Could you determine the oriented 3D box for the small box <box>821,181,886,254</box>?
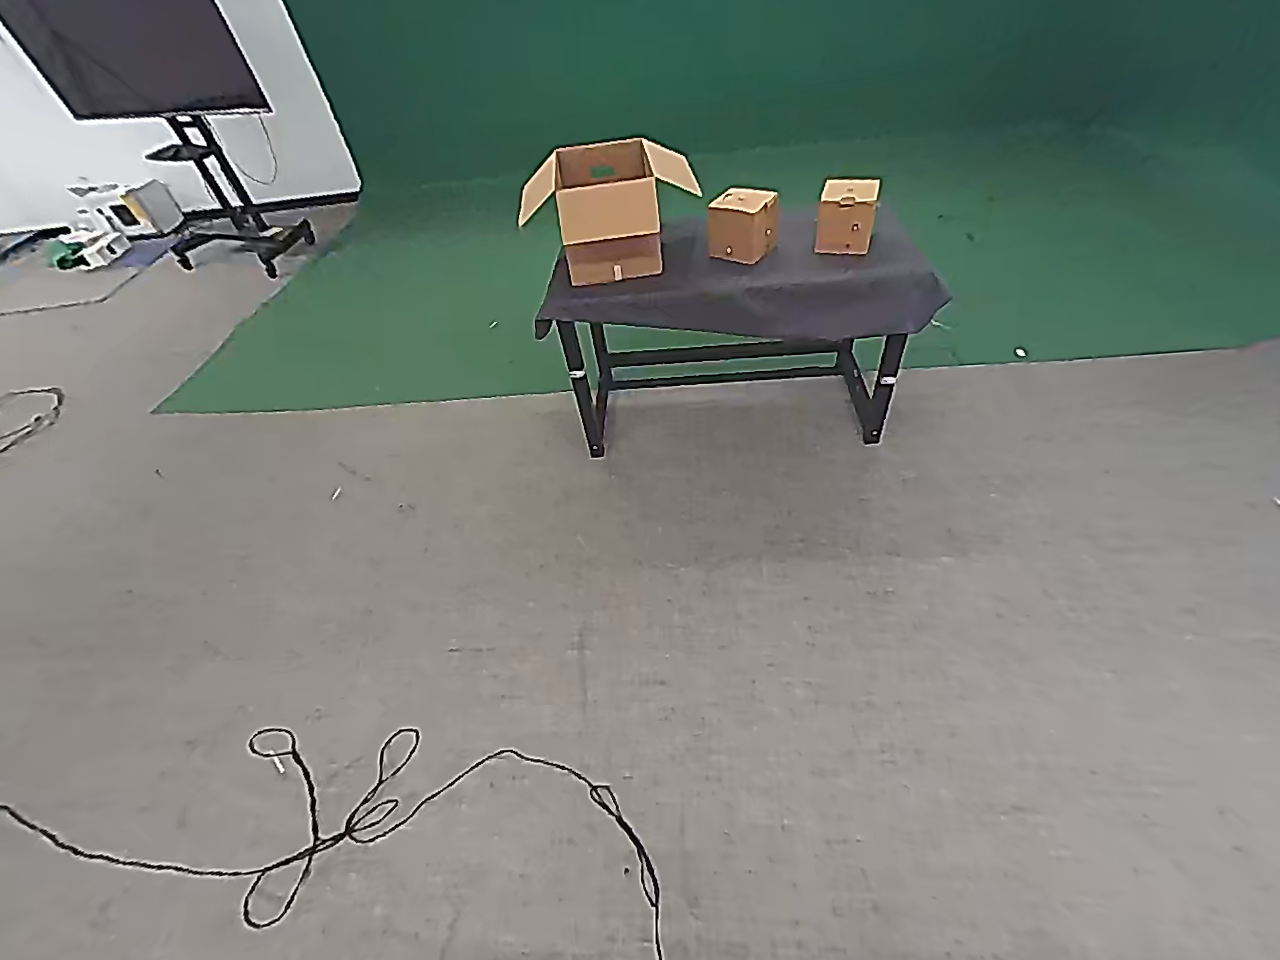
[{"bbox_3d":[0.693,-0.857,1.764,0.168,0.176,0.179,11,49,18],"label":"small box"}]

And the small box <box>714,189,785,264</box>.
[{"bbox_3d":[0.366,-0.848,1.813,0.179,0.176,0.168,25,56,28],"label":"small box"}]
